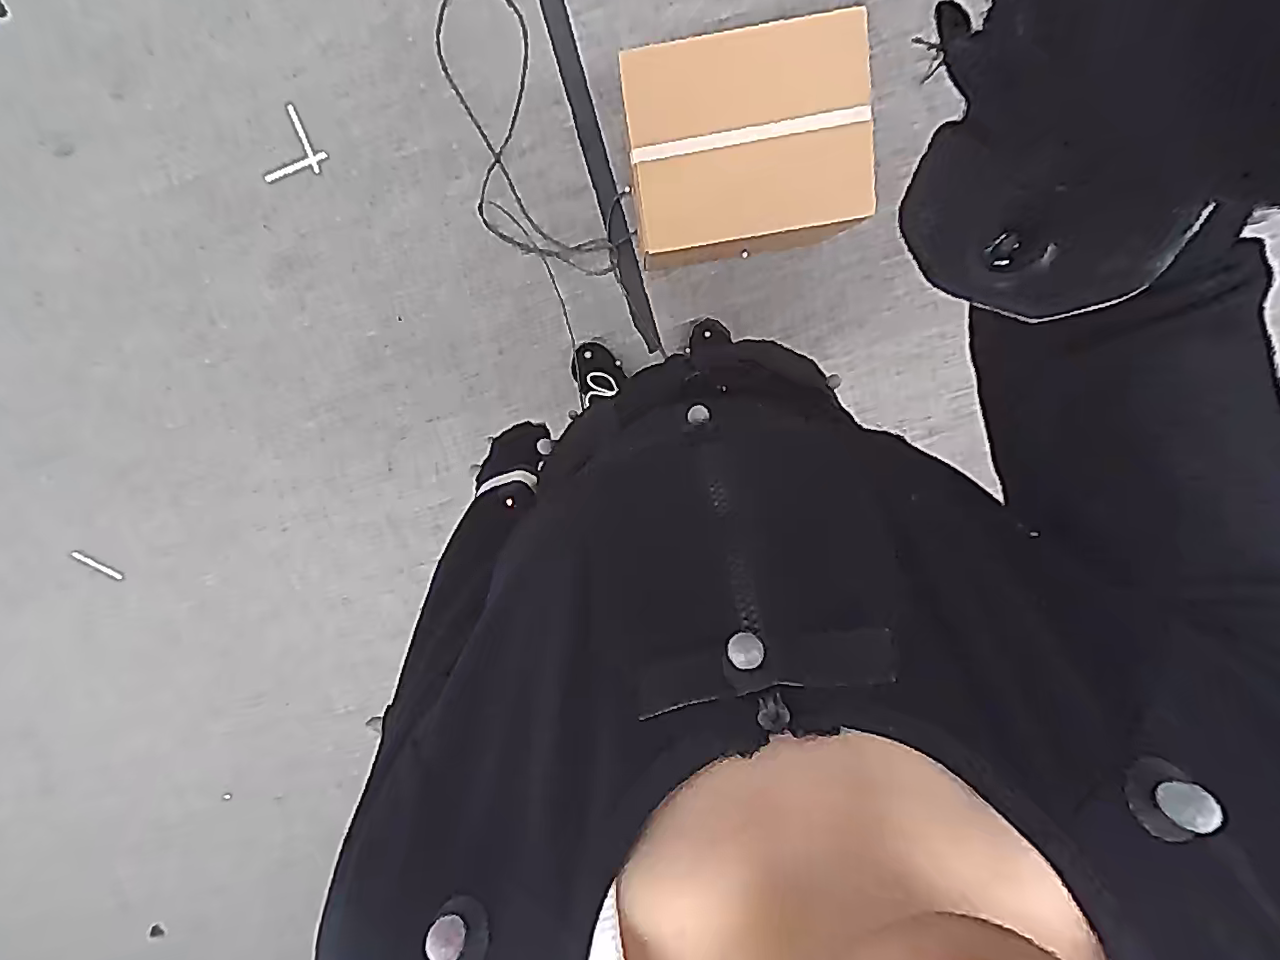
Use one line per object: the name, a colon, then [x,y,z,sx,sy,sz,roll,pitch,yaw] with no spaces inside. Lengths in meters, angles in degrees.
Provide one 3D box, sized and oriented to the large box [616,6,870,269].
large box: [0.181,-0.624,1.058,0.408,0.320,0.320,-9,106,2]
